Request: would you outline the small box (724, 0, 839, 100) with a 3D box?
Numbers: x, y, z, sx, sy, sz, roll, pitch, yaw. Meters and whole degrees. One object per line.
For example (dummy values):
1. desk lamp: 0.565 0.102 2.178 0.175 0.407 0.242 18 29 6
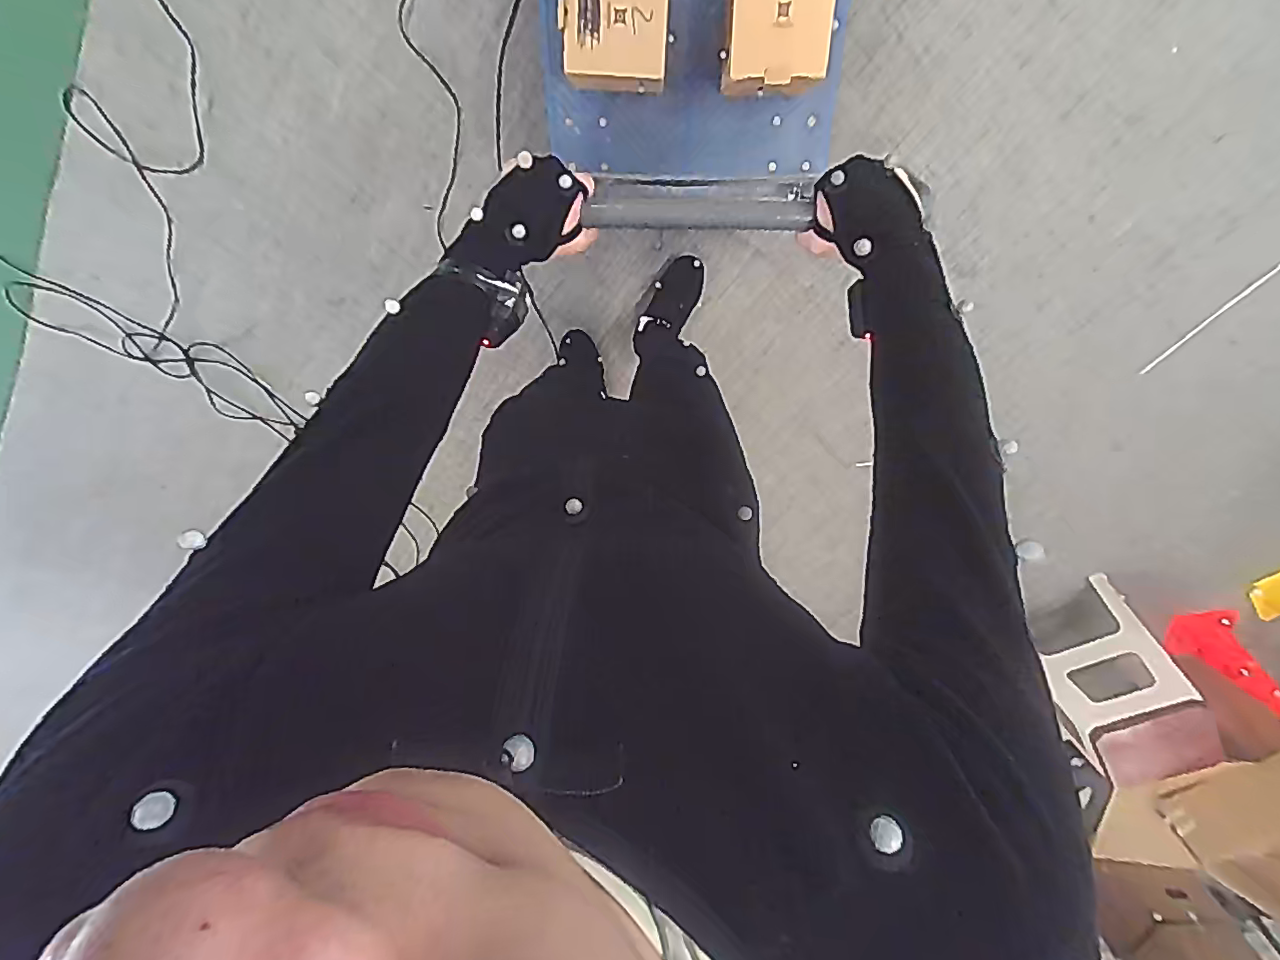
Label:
1. small box: 0.241 -0.790 0.954 0.168 0.176 0.179 1 119 2
